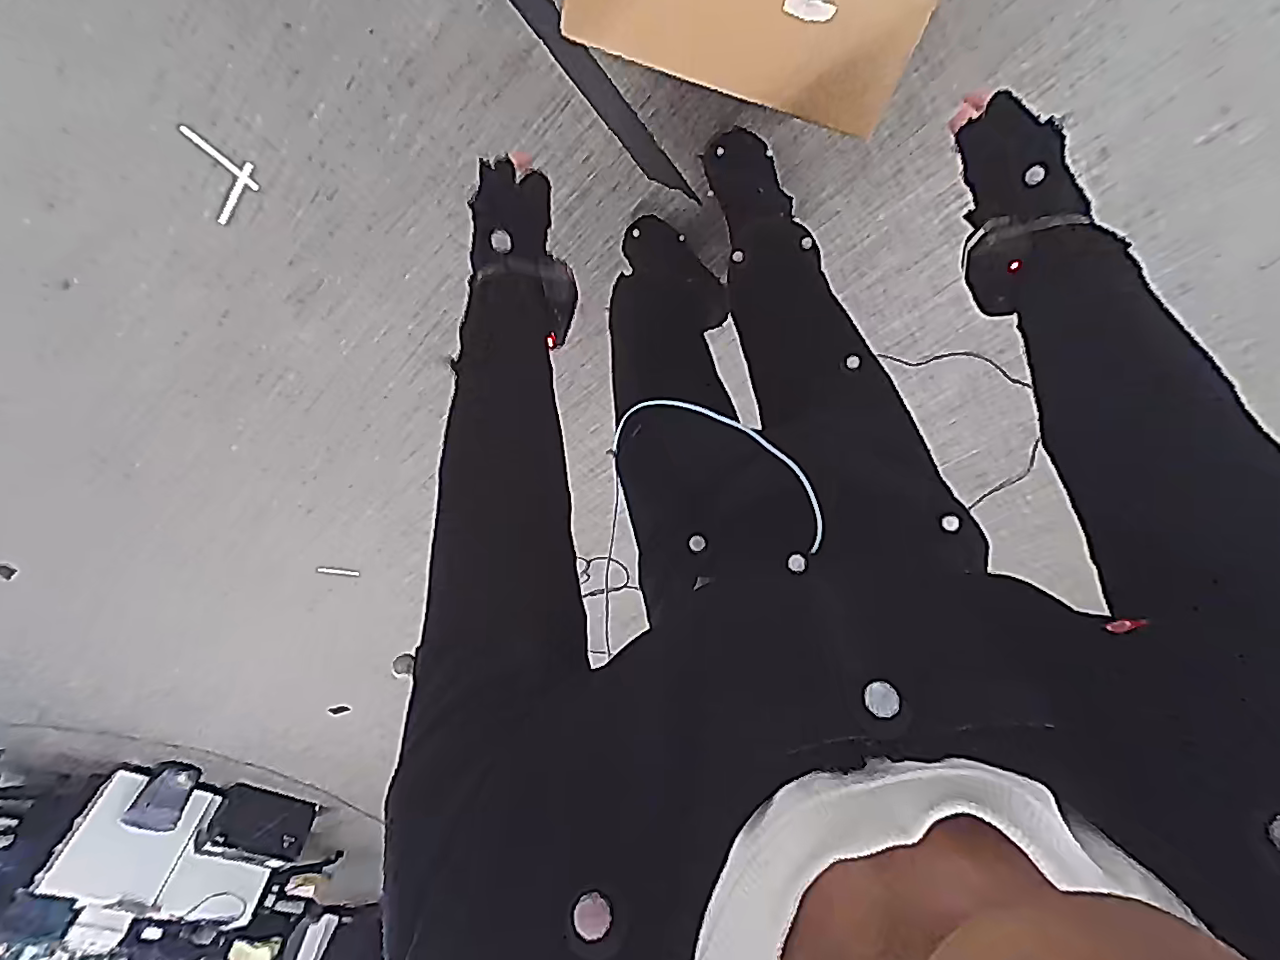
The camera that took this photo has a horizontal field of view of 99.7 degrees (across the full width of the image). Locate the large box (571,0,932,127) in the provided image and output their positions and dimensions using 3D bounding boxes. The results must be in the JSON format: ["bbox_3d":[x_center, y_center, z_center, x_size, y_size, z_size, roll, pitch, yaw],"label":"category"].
[{"bbox_3d":[0.146,-0.697,0.678,0.408,0.320,0.320,12,132,-9],"label":"large box"}]
